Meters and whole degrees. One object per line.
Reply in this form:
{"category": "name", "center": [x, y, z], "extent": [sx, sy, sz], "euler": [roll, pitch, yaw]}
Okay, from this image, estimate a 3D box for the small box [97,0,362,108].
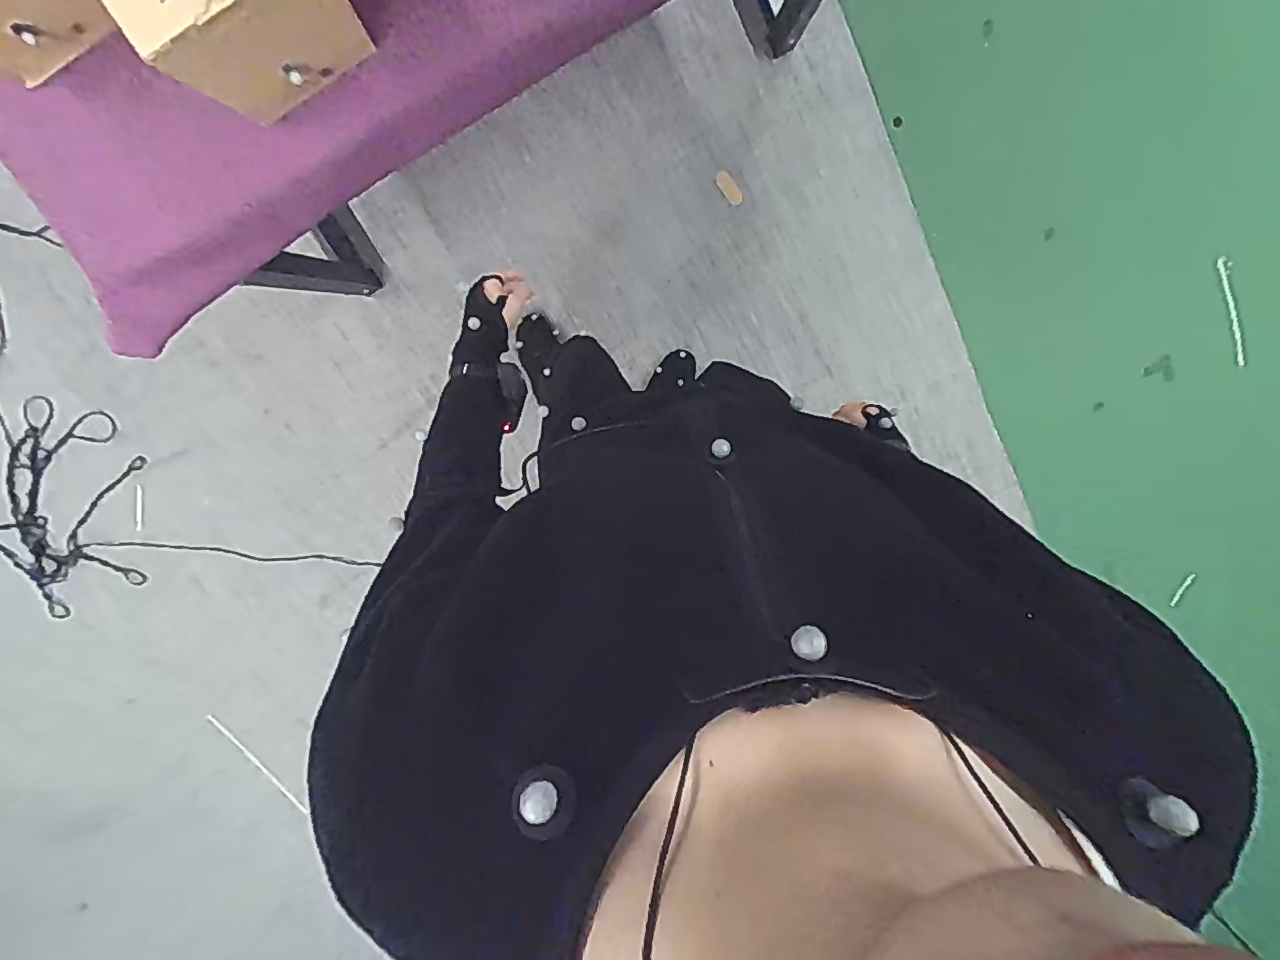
{"category": "small box", "center": [-0.414, -0.509, 0.516], "extent": [0.168, 0.176, 0.179], "euler": [-27, 105, 7]}
